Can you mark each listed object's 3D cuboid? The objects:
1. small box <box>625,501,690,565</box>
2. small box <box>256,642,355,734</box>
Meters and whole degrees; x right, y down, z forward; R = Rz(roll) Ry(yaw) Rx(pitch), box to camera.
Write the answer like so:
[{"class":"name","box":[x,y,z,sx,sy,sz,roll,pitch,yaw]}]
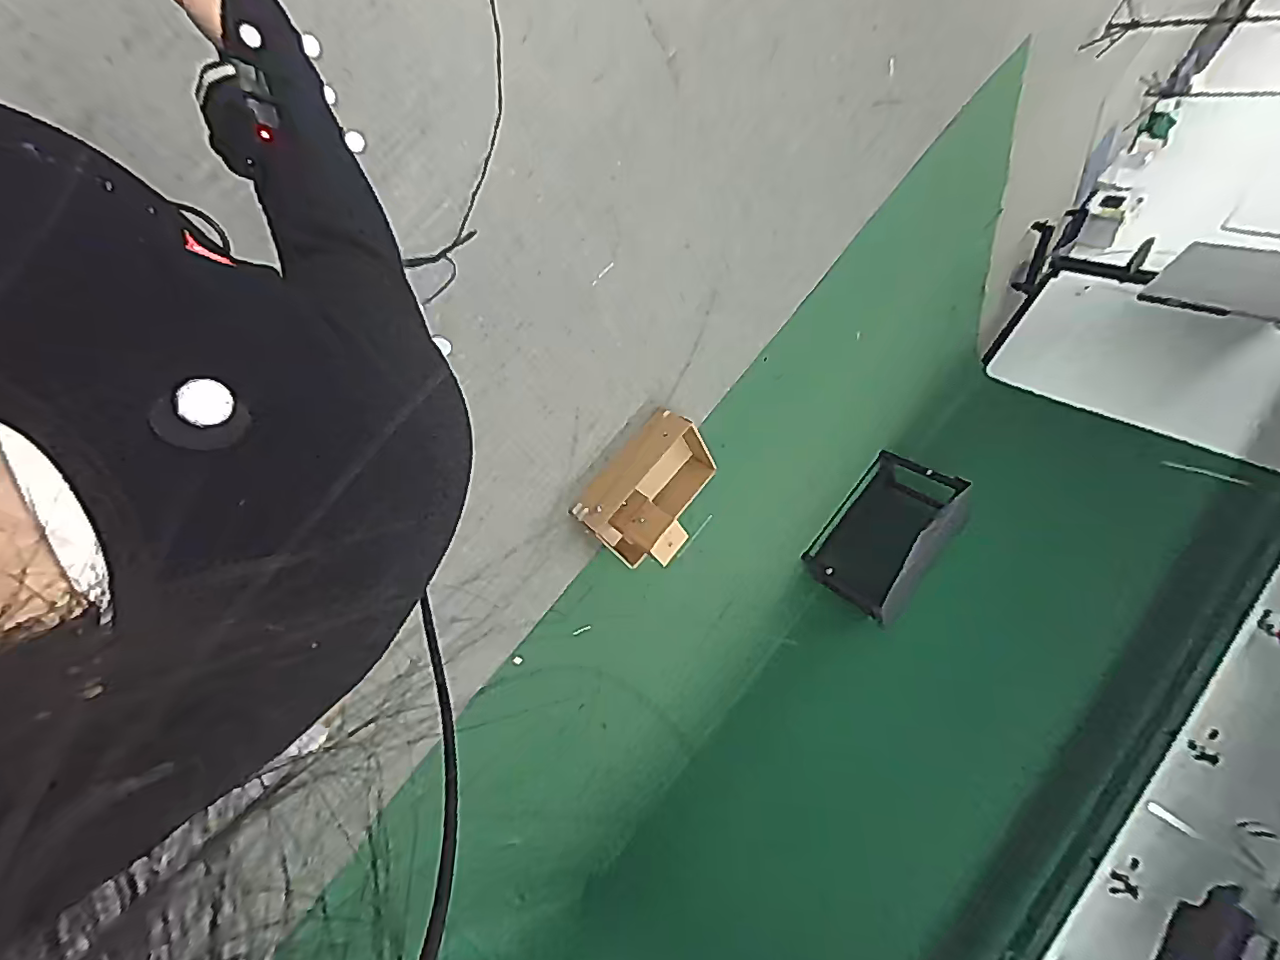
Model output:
[{"class":"small box","box":[0.070,0.213,2.216,0.168,0.176,0.179,-50,143,-9]},{"class":"small box","box":[-1.030,0.635,1.662,0.179,0.176,0.168,-43,142,-18]}]
